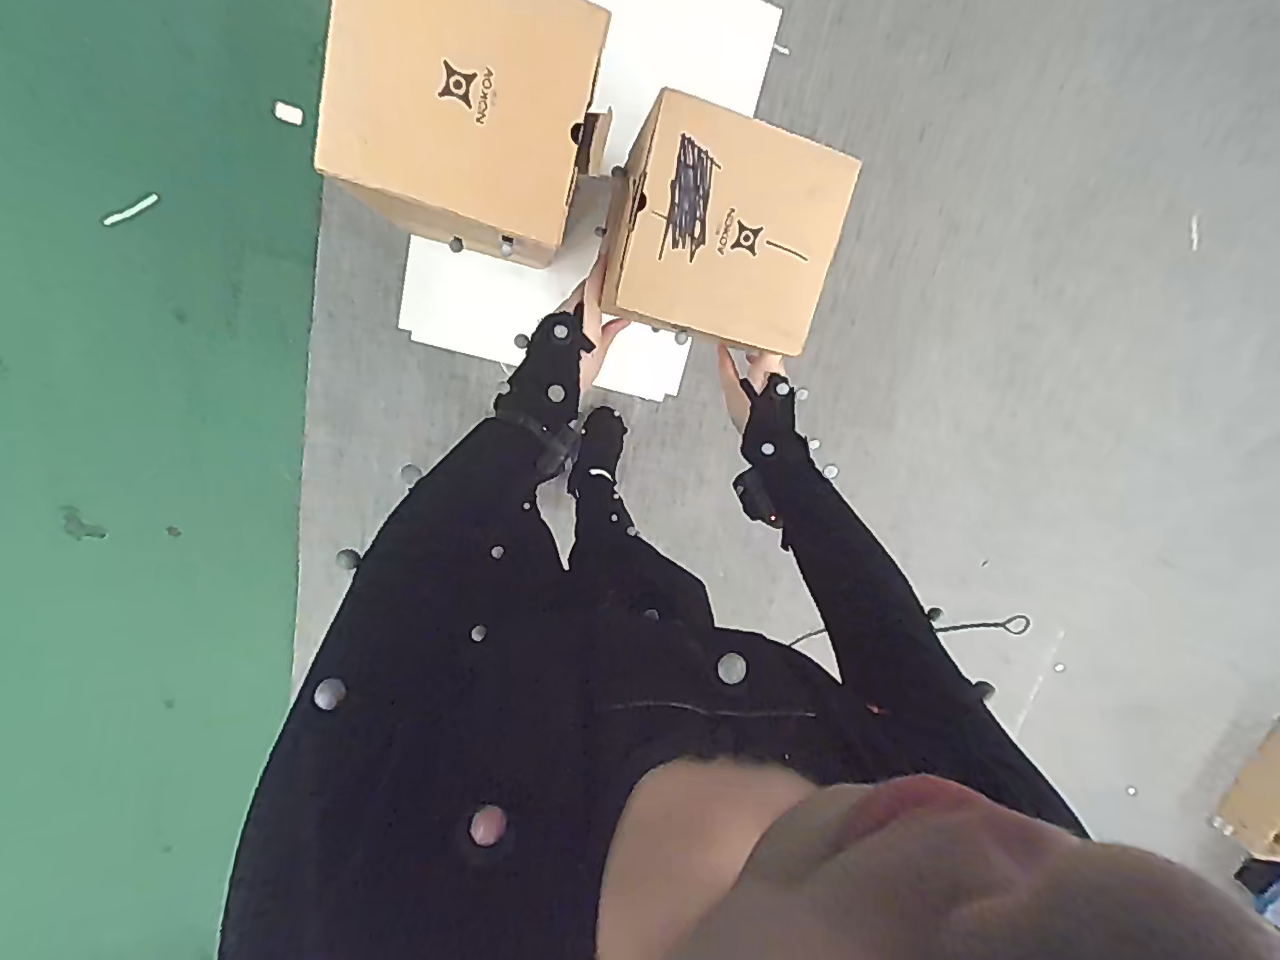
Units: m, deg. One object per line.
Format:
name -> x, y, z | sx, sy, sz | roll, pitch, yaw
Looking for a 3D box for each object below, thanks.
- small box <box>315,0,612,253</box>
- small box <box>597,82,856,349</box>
small box -> -0.141, -0.304, 0.456 | 0.179, 0.176, 0.168 | 12, 103, -18
small box -> 0.063, -0.230, 0.521 | 0.179, 0.176, 0.168 | 12, 103, -15
